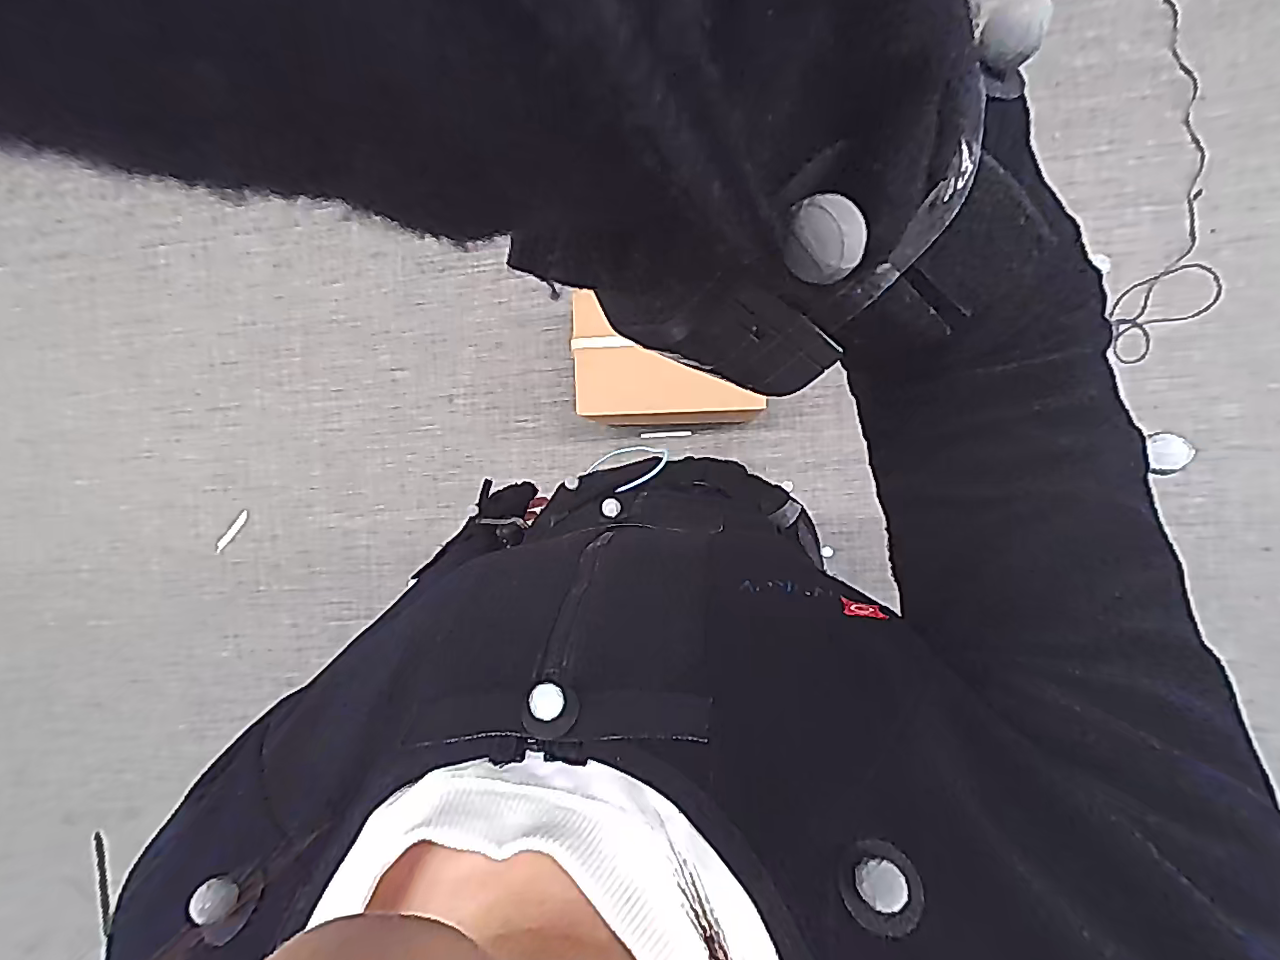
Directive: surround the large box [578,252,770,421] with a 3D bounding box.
[{"bbox_3d":[0.083,-0.315,1.289,0.408,0.320,0.320,-1,92,6],"label":"large box"}]
